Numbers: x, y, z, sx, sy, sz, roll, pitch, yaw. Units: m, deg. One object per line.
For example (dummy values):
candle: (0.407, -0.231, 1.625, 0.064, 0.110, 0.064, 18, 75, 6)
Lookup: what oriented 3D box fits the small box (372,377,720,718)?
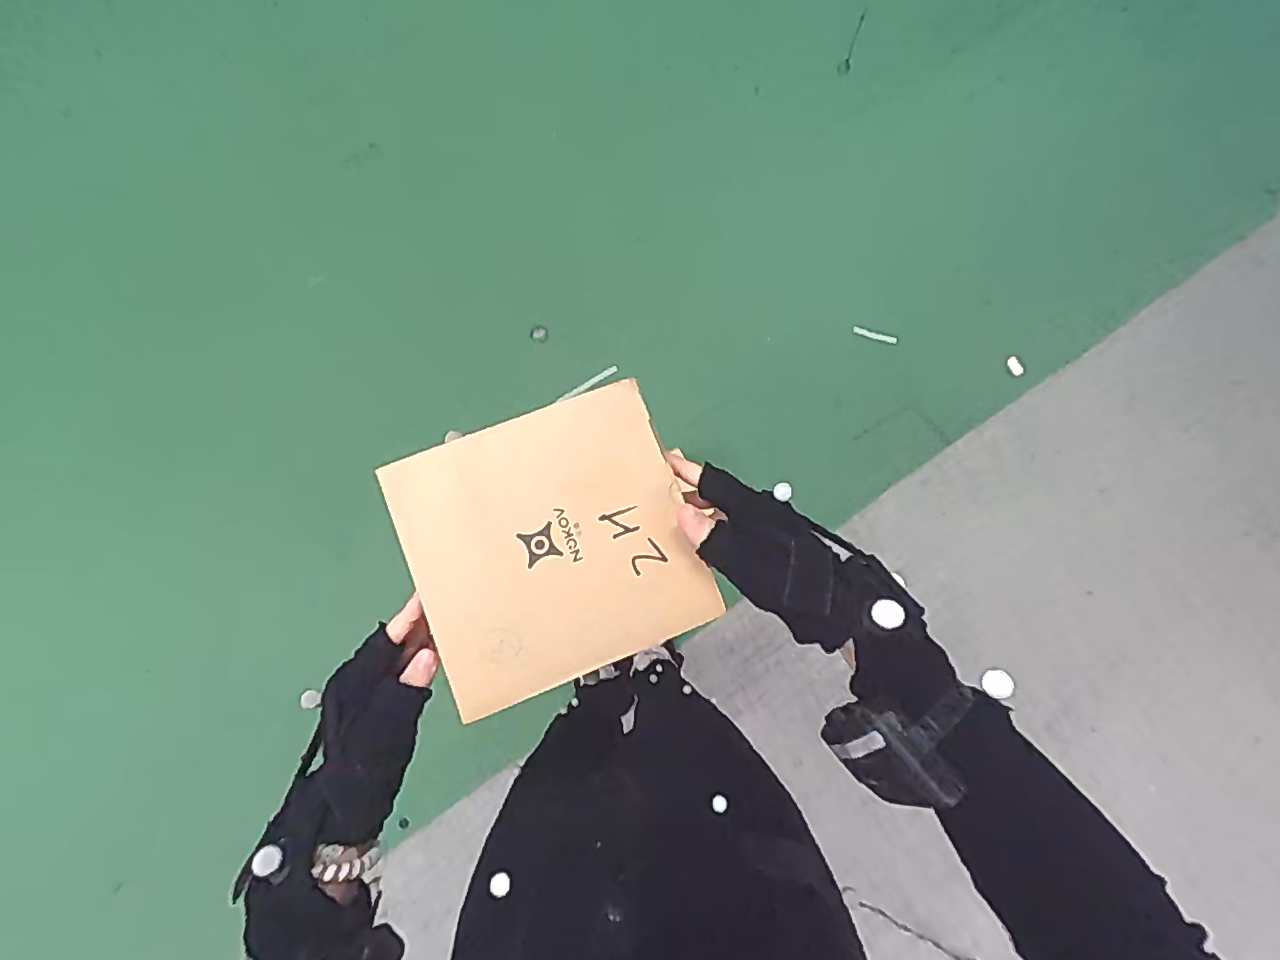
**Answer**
small box: (-0.062, 0.048, 0.411, 0.179, 0.176, 0.168, -21, 85, -7)
